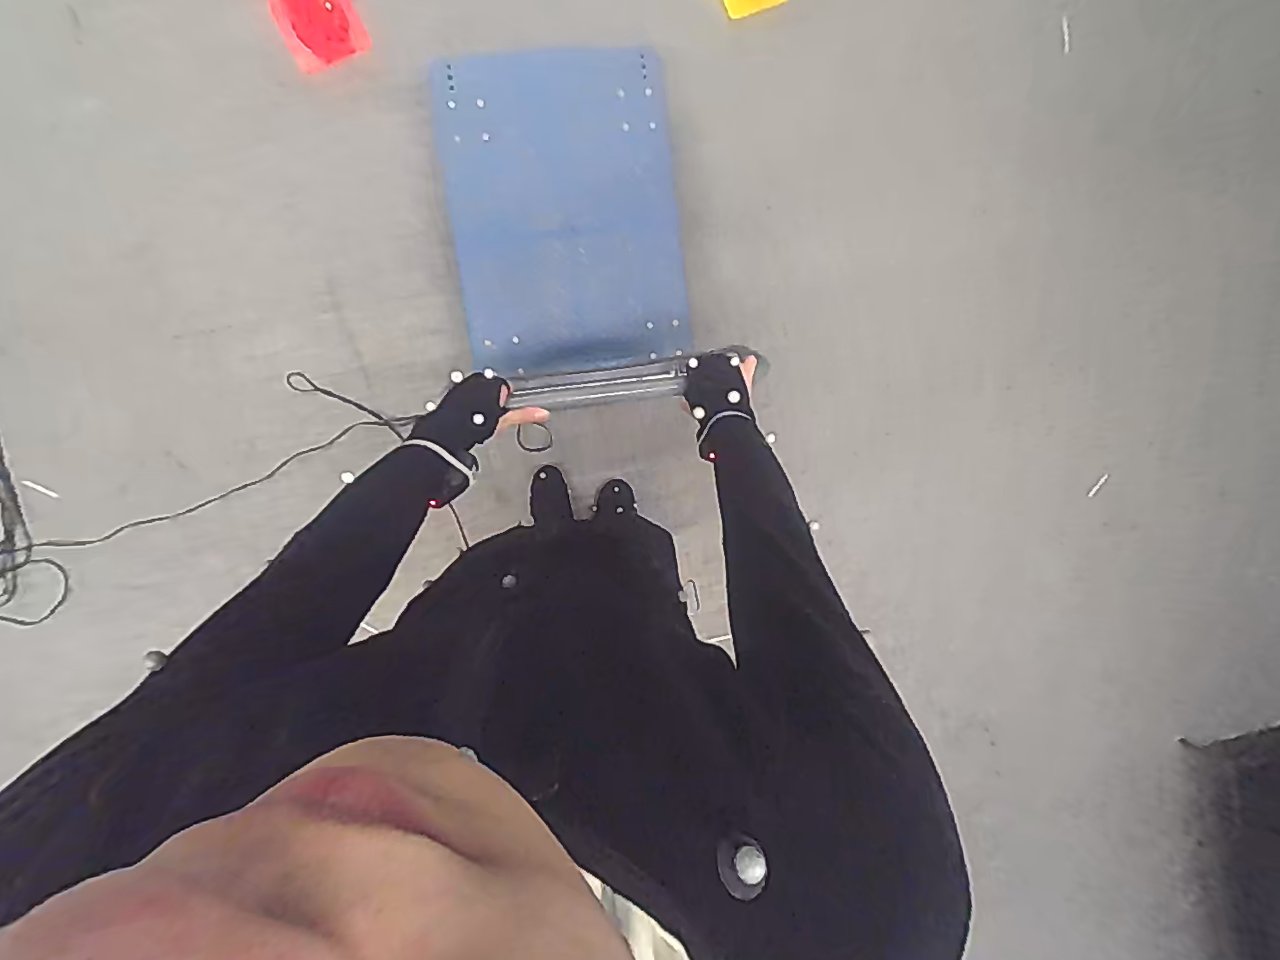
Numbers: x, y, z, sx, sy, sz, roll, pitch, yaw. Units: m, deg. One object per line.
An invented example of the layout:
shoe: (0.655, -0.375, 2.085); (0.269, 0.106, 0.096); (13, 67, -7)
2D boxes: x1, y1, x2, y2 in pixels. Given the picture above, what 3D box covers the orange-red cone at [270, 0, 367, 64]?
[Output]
orange-red cone: (-0.822, -1.195, 1.243); (0.199, 0.360, 0.198); (-26, 97, -2)
